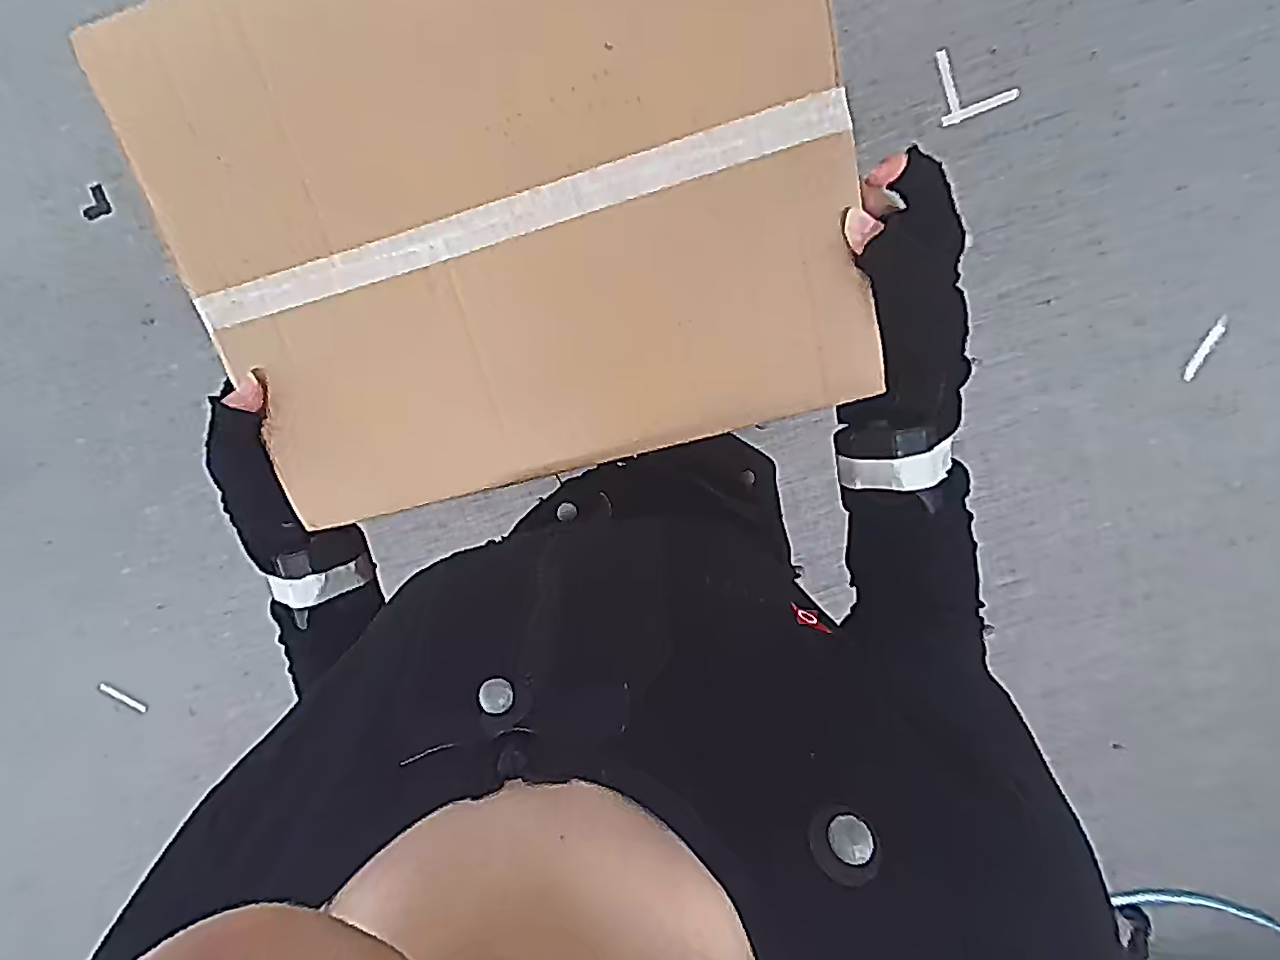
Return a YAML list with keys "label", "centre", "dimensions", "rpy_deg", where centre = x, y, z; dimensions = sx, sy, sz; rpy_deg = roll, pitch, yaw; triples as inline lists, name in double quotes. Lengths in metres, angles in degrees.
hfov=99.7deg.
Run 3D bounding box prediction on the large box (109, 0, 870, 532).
- label: "large box"
  centre: [-0.072, -0.195, 0.470]
  dimensions: [0.408, 0.320, 0.320]
  rpy_deg: [-14, 106, 9]
